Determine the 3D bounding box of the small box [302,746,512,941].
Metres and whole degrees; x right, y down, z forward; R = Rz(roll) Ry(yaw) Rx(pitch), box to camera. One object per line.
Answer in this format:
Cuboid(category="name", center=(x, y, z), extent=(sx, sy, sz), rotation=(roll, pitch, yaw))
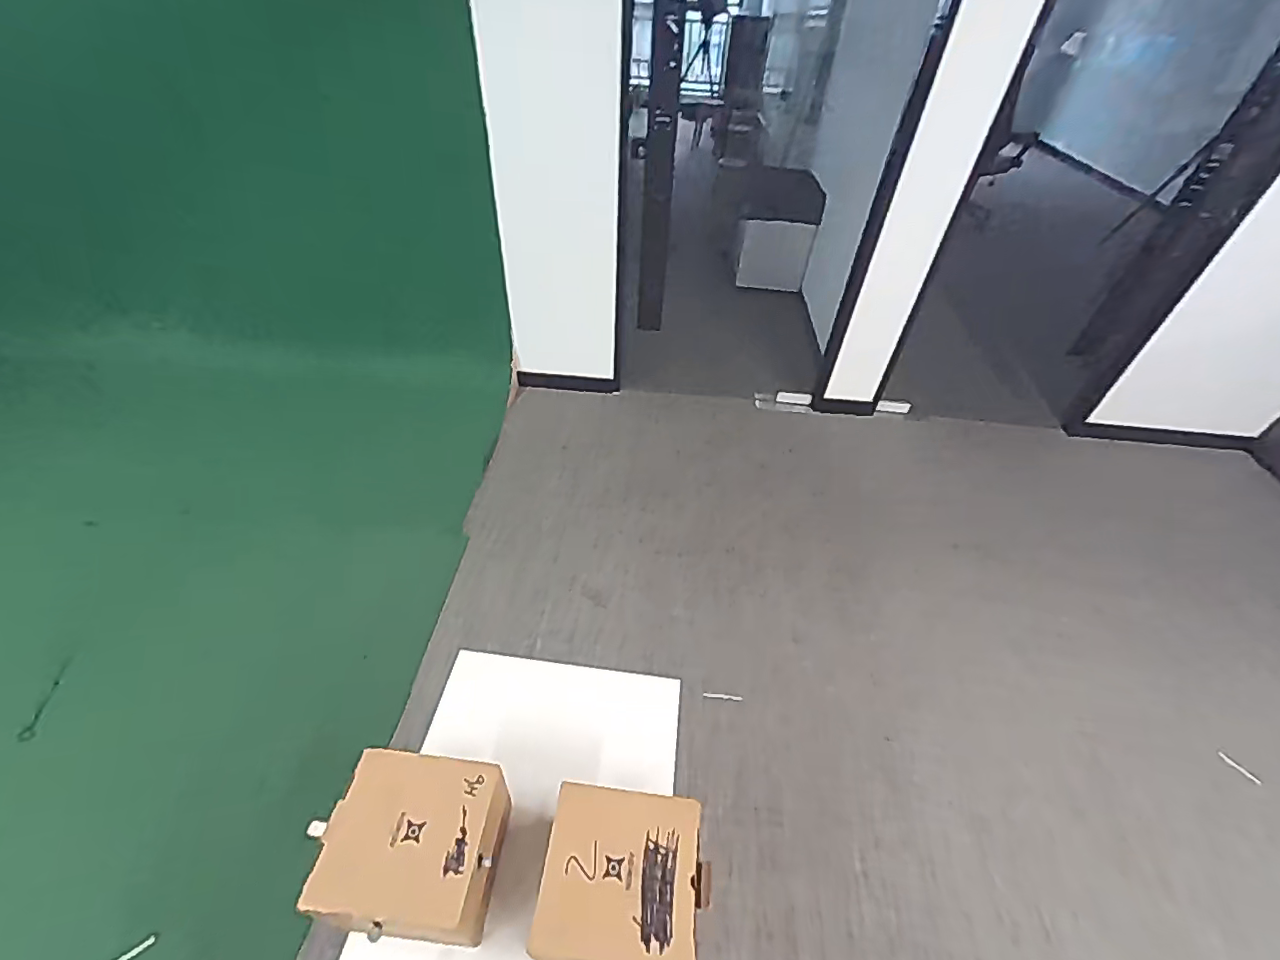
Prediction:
Cuboid(category="small box", center=(-0.273, 0.461, 0.684), extent=(0.179, 0.176, 0.168), rotation=(7, 45, 1))
